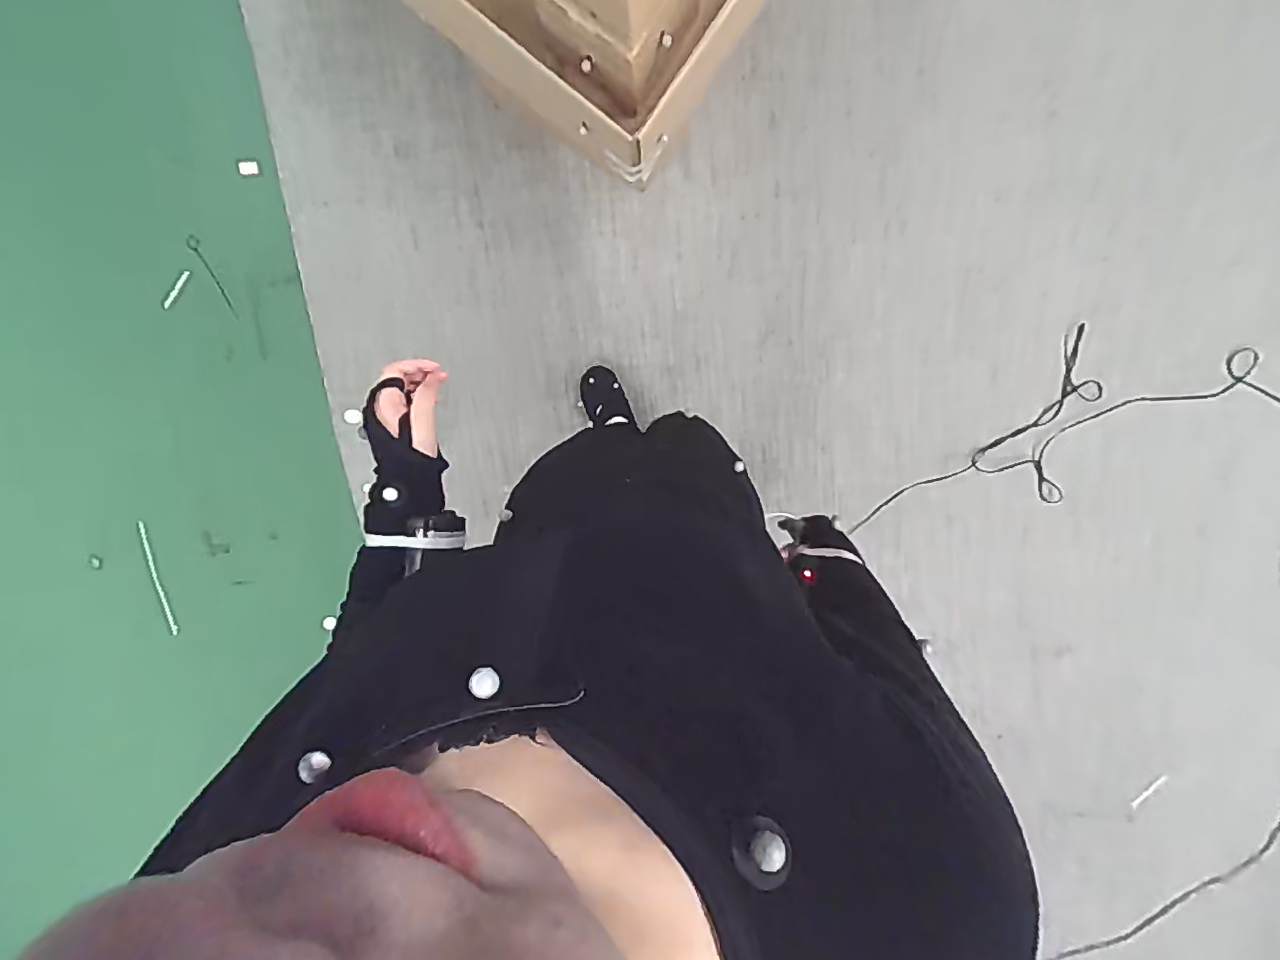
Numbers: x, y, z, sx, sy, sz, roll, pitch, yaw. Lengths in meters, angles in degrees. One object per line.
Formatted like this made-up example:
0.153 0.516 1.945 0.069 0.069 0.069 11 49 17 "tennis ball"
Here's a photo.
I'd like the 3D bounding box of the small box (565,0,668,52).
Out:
-0.028 -0.656 0.617 0.168 0.176 0.179 35 99 -5 "small box"
